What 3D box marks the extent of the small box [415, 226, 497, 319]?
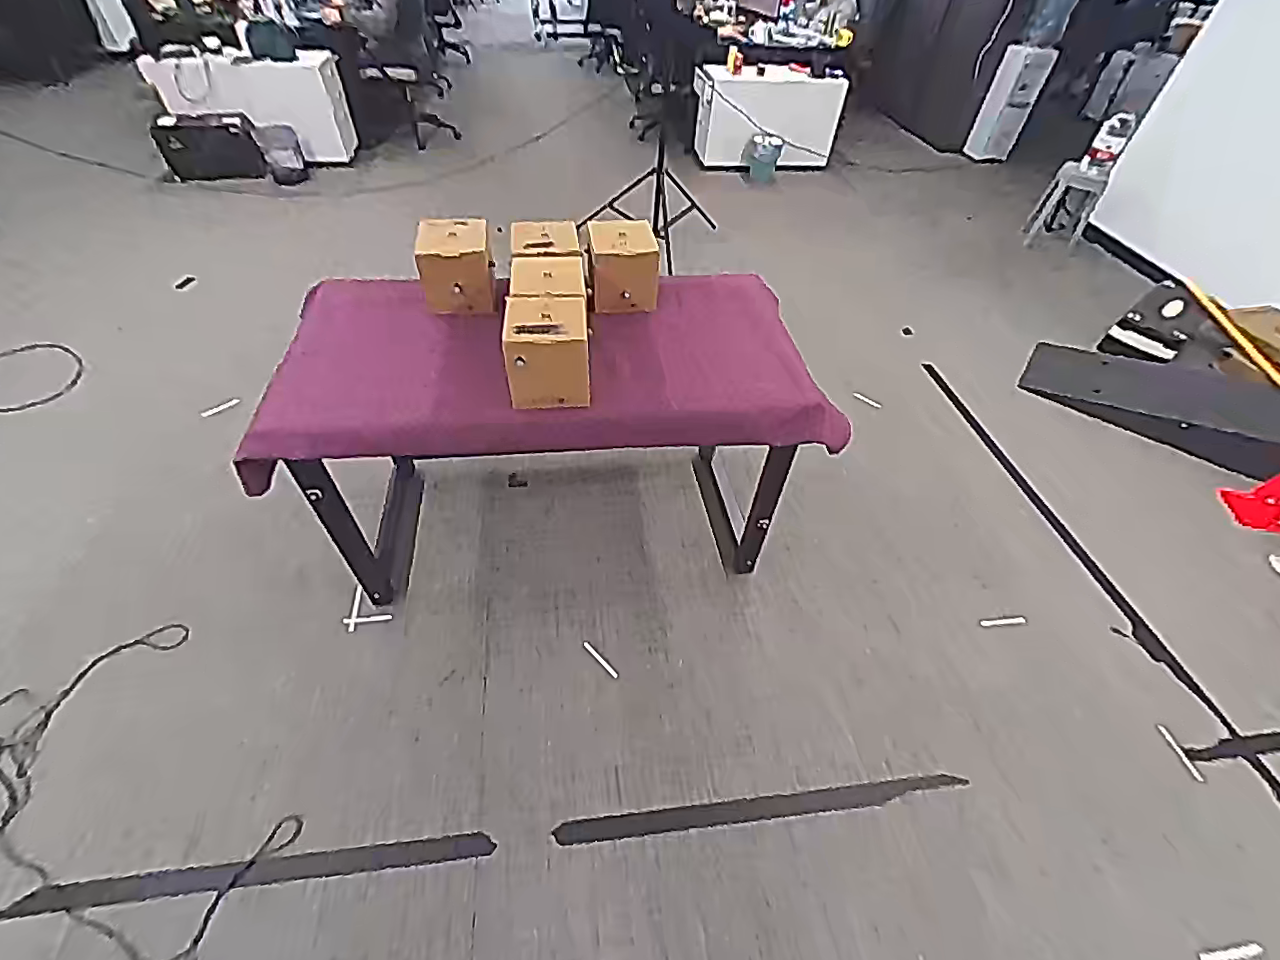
[{"bbox_3d":[-0.464,-0.530,1.390,0.168,0.176,0.179,-5,51,-8],"label":"small box"}]
